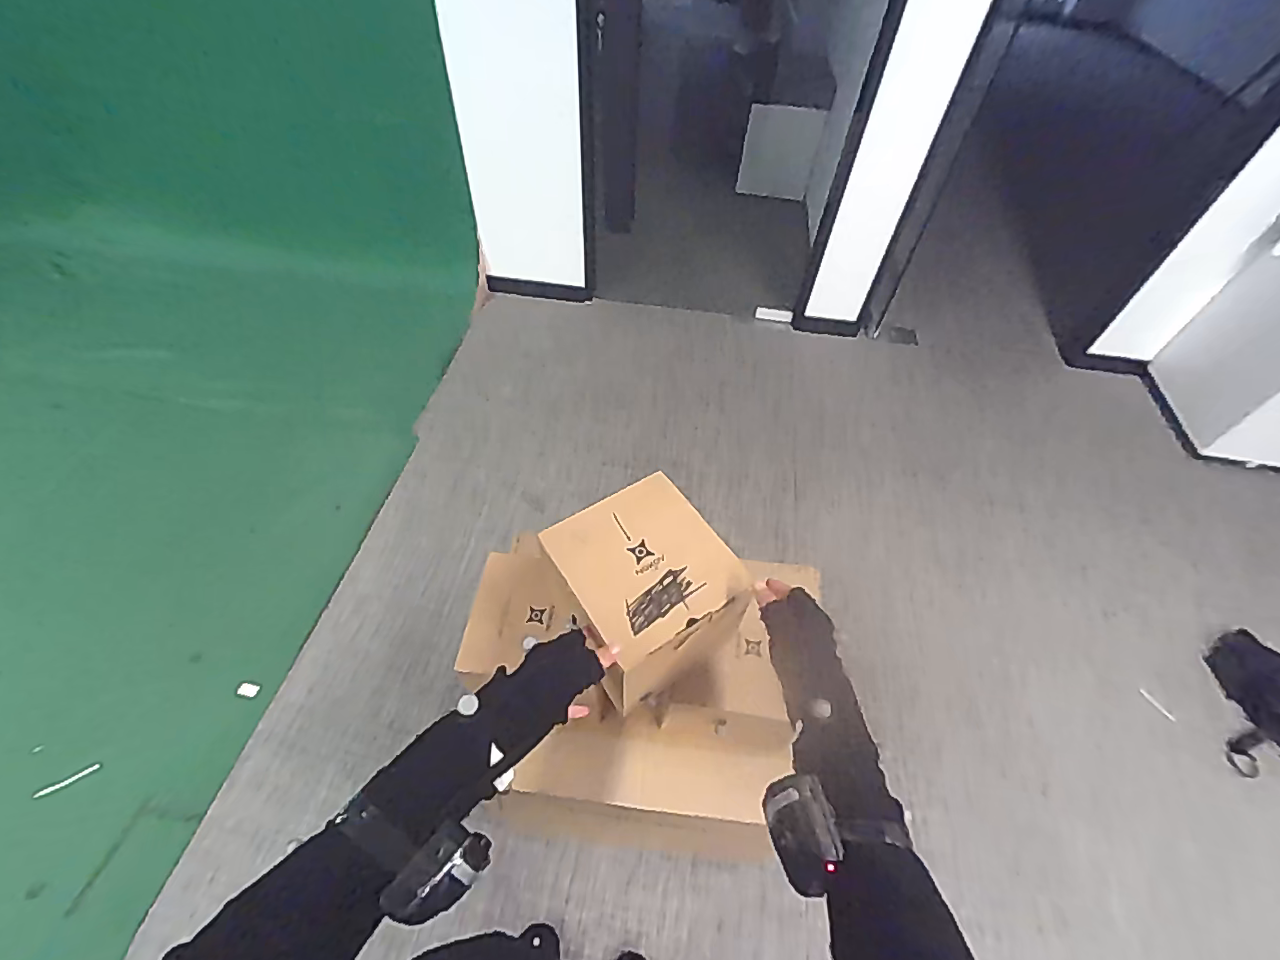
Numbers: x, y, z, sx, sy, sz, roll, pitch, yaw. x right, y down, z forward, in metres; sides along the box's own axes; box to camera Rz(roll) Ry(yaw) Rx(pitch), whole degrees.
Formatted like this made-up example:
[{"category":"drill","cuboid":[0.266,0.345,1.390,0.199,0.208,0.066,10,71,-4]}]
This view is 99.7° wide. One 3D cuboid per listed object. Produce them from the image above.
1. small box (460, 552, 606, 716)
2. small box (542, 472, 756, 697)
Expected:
[{"category":"small box","cuboid":[-0.128,0.222,0.762,0.179,0.176,0.168,6,53,2]},{"category":"small box","cuboid":[0.005,0.129,0.633,0.168,0.176,0.179,-27,58,-21]}]
